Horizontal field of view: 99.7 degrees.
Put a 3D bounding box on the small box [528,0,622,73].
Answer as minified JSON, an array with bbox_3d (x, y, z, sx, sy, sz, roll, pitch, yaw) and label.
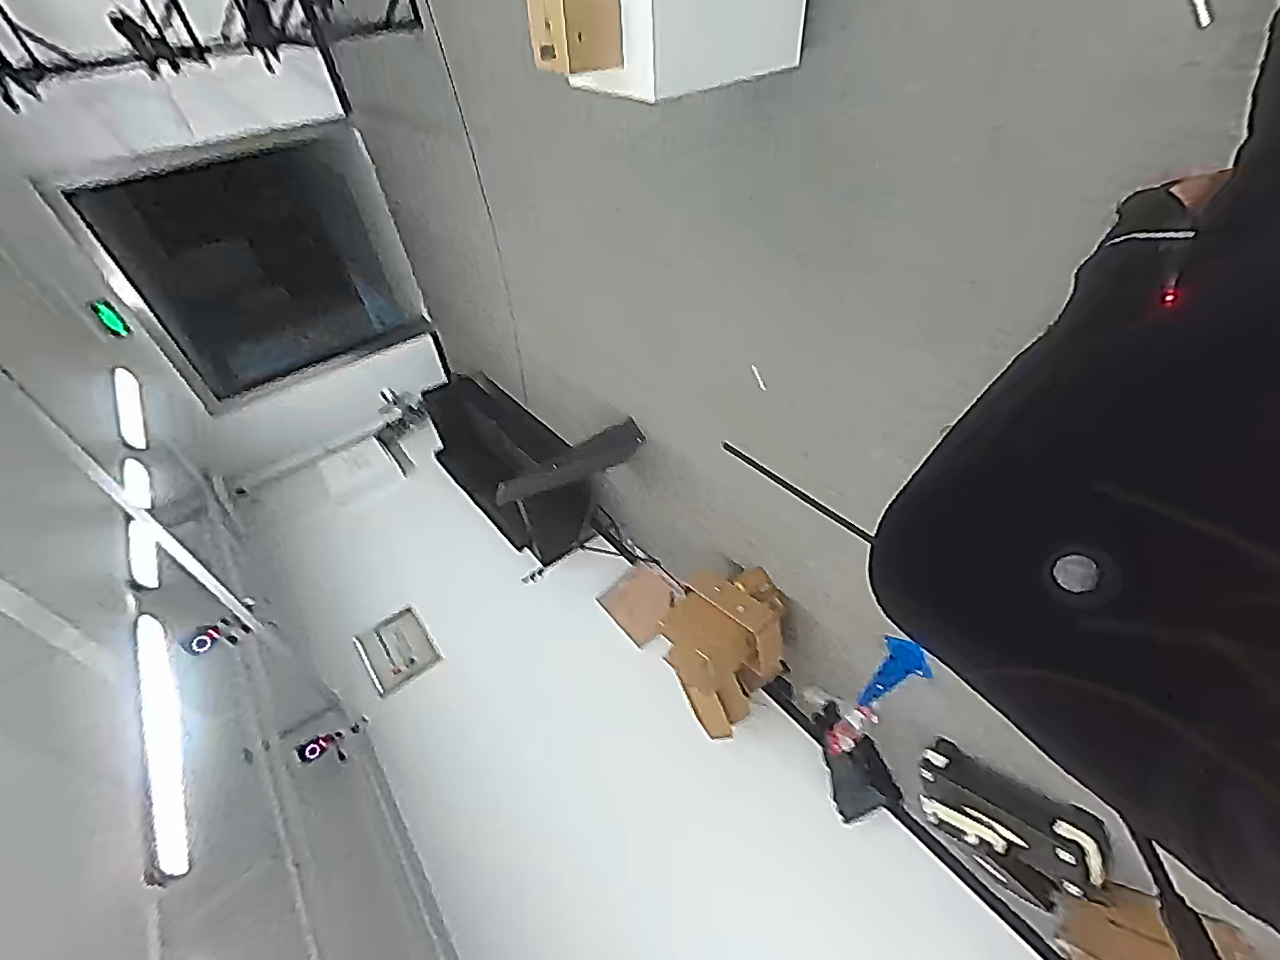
[{"bbox_3d":[-0.156,-1.136,1.334,0.168,0.176,0.179,41,150,33],"label":"small box"}]
